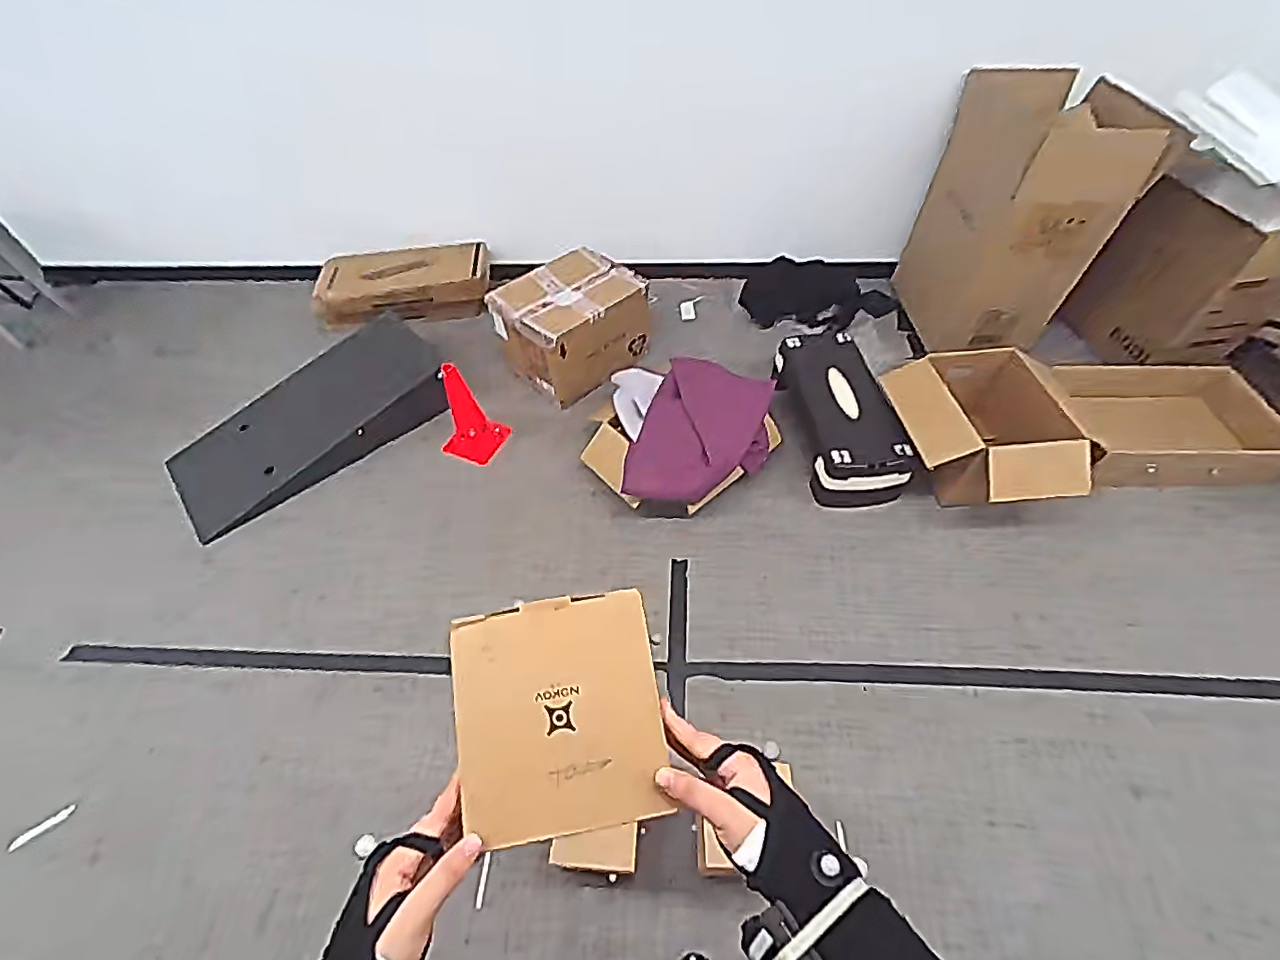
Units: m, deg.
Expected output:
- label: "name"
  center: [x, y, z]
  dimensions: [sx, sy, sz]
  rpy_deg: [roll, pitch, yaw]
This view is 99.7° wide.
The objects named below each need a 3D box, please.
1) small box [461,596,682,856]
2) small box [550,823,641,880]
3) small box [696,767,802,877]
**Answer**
- label: "small box"
  center: [-0.062, 0.222, 0.522]
  dimensions: [0.168, 0.176, 0.179]
  rpy_deg: [-10, 72, -4]
- label: "small box"
  center: [-0.087, 0.771, 1.189]
  dimensions: [0.179, 0.176, 0.168]
  rpy_deg: [2, 51, 4]
- label: "small box"
  center: [0.200, 0.668, 1.052]
  dimensions: [0.179, 0.176, 0.168]
  rpy_deg: [0, 51, 1]
